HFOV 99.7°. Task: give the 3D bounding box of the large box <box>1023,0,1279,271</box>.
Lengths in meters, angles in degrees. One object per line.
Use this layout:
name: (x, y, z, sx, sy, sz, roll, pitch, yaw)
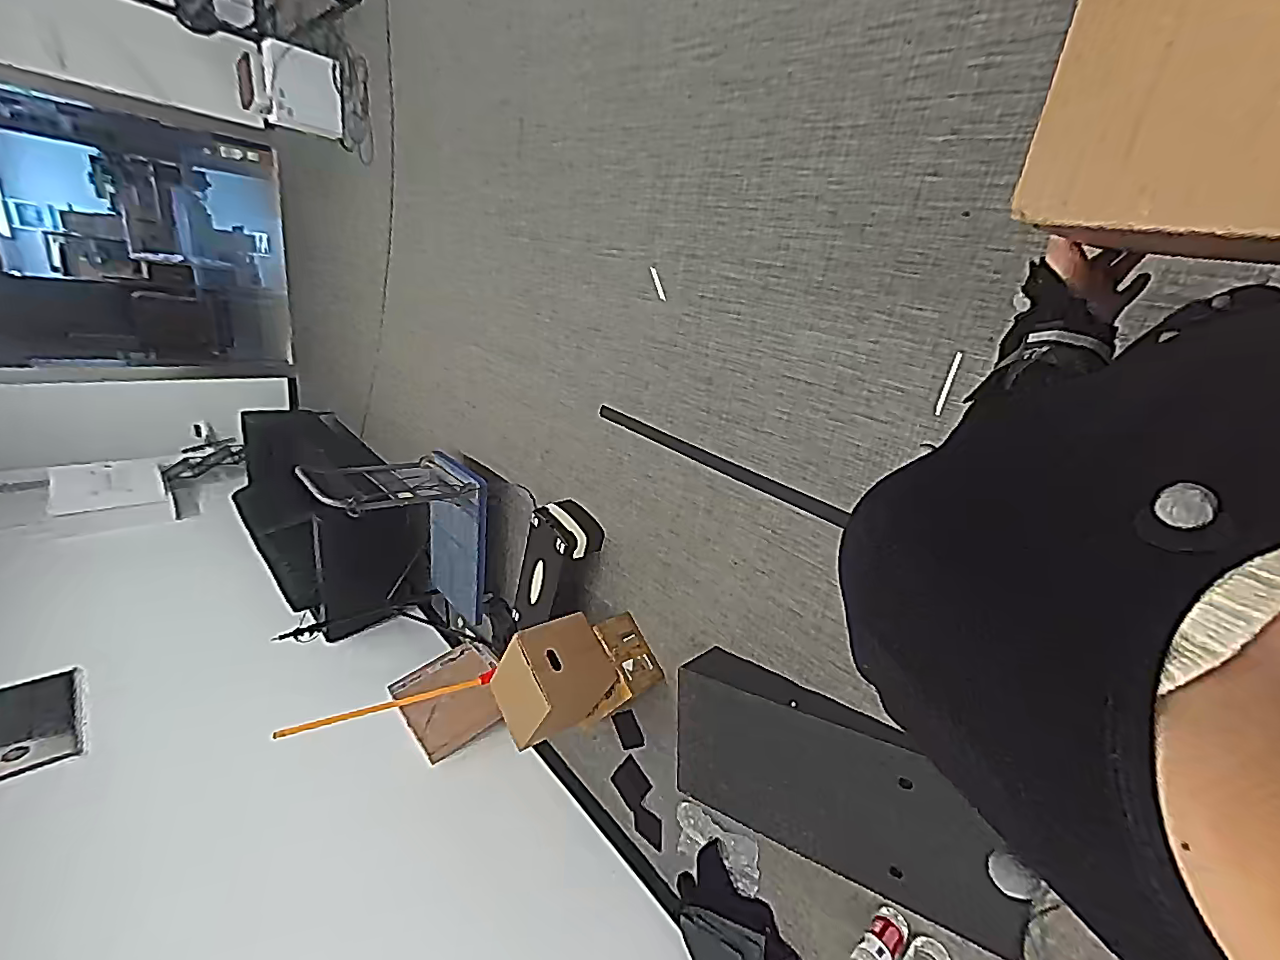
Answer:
large box: (0.487, -0.259, 0.248, 0.408, 0.320, 0.320, 27, 123, 39)
